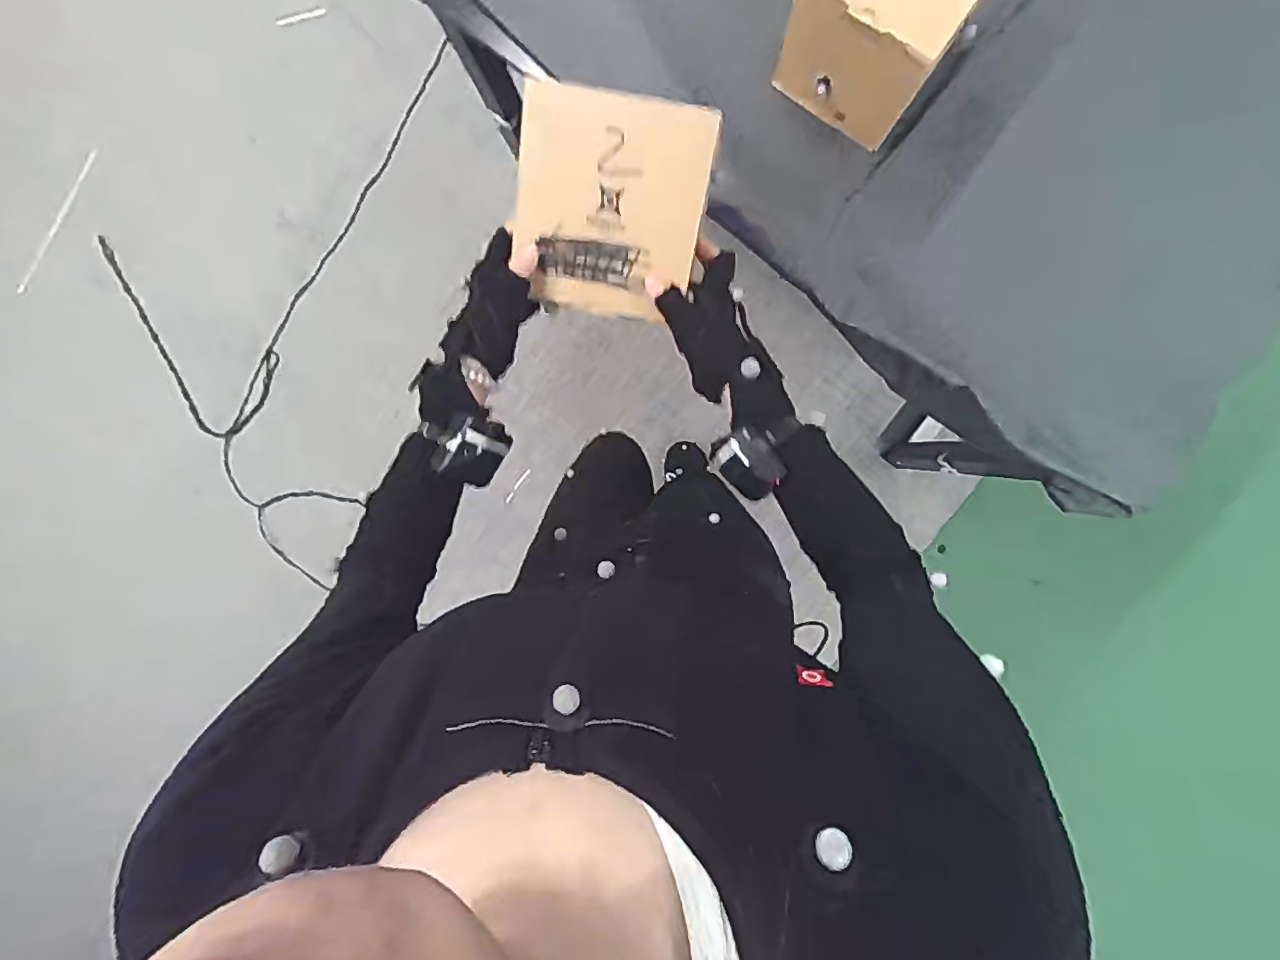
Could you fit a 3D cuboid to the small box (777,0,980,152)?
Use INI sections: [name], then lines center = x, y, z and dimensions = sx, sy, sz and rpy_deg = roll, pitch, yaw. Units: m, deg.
[small box]
center = 0.283, -0.542, 0.636
dimensions = 0.168, 0.176, 0.179
rpy_deg = 35, 96, 1
